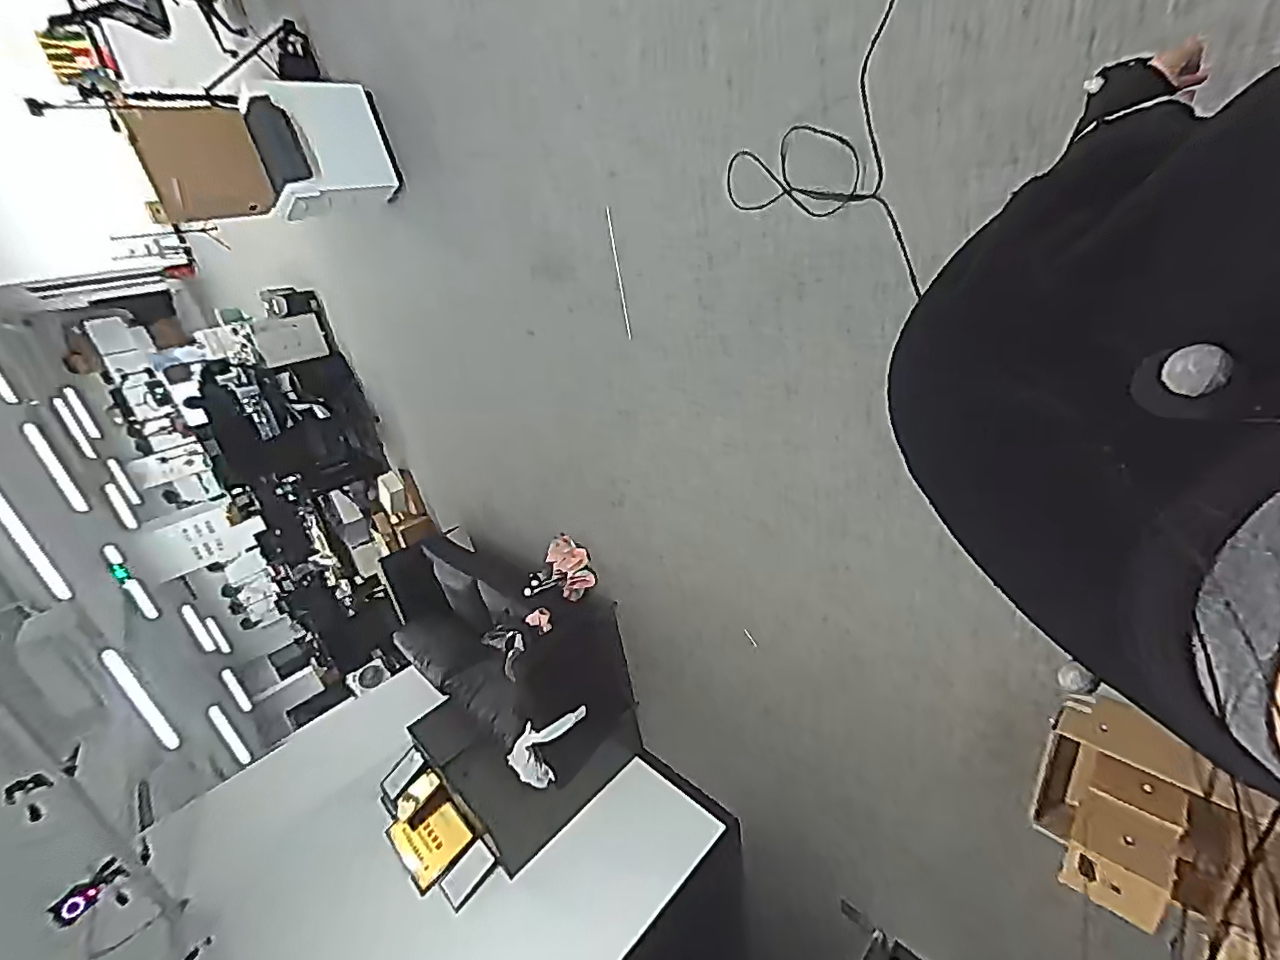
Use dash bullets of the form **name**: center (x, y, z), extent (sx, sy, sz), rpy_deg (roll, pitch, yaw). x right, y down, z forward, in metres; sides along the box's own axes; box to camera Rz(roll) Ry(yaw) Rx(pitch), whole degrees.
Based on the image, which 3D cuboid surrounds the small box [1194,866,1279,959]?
- **small box**: center (1.291, 0.959, 1.113), extent (0.168, 0.176, 0.179), rpy_deg (20, 126, 42)

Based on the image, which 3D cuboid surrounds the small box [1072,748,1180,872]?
- **small box**: center (1.236, 0.827, 1.375), extent (0.179, 0.176, 0.168), rpy_deg (14, 121, 43)
